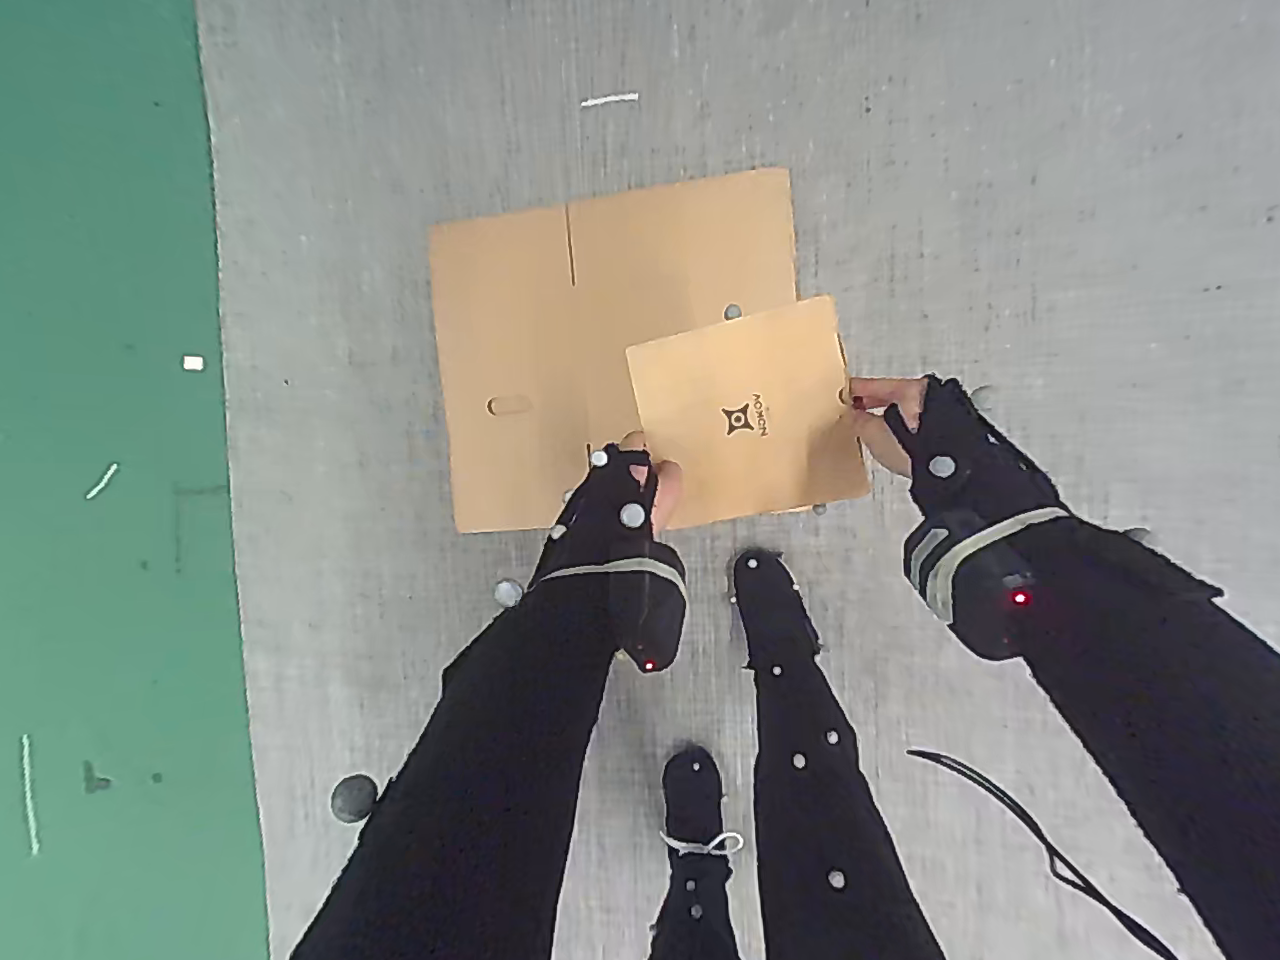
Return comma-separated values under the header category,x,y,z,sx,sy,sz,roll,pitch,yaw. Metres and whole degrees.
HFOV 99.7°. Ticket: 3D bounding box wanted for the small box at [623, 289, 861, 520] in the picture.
category,x,y,z,sx,sy,sz,roll,pitch,yaw
small box,0.101,-0.066,0.530,0.179,0.176,0.168,-11,95,14
